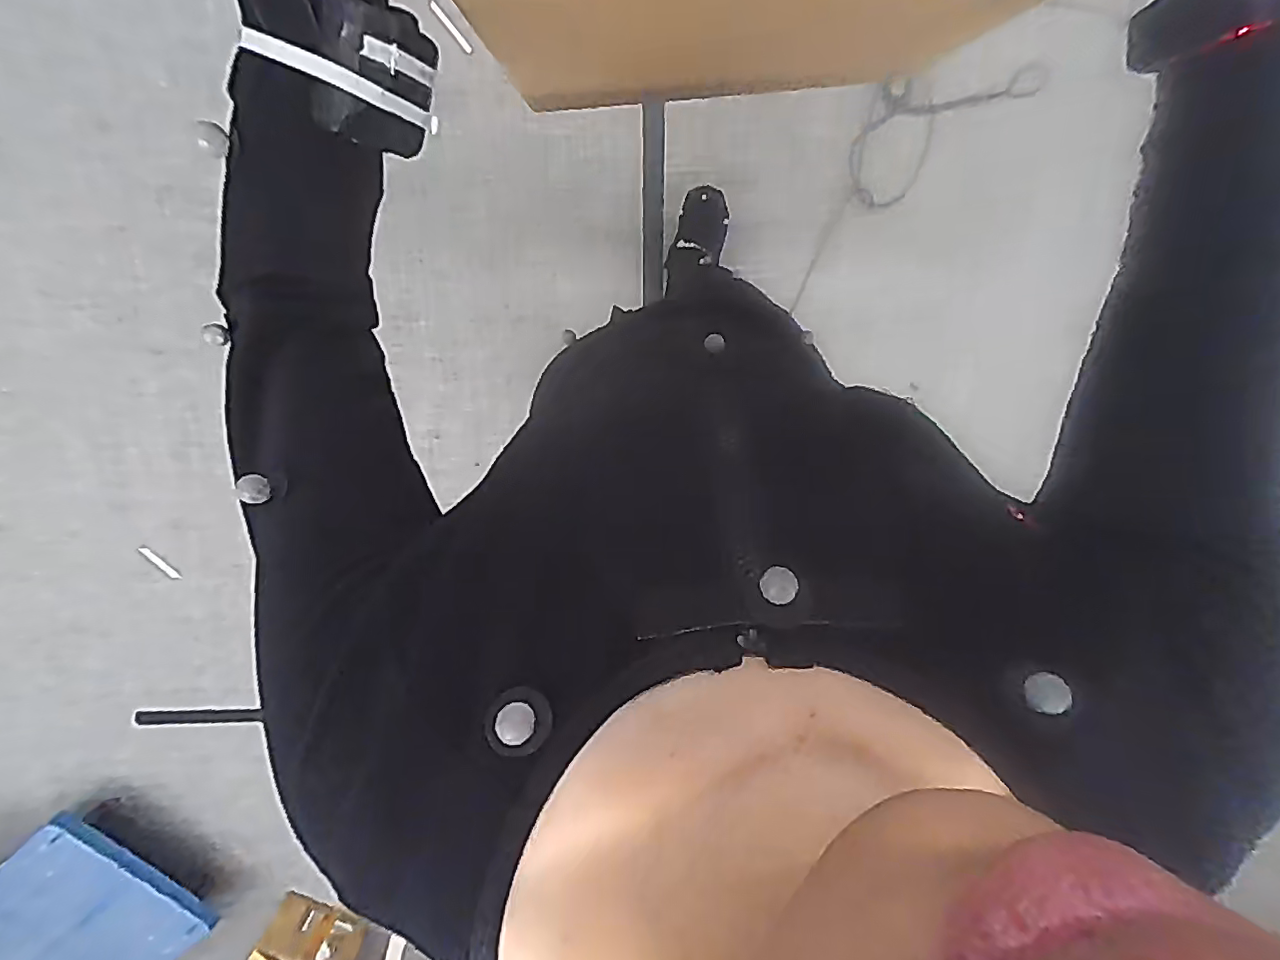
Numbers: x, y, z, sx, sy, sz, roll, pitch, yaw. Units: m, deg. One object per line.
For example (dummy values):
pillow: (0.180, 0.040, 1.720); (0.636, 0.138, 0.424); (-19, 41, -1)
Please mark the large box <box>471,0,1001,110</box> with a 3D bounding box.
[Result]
large box: (0.071, -0.490, 0.369); (0.408, 0.320, 0.320); (-5, 113, 1)
